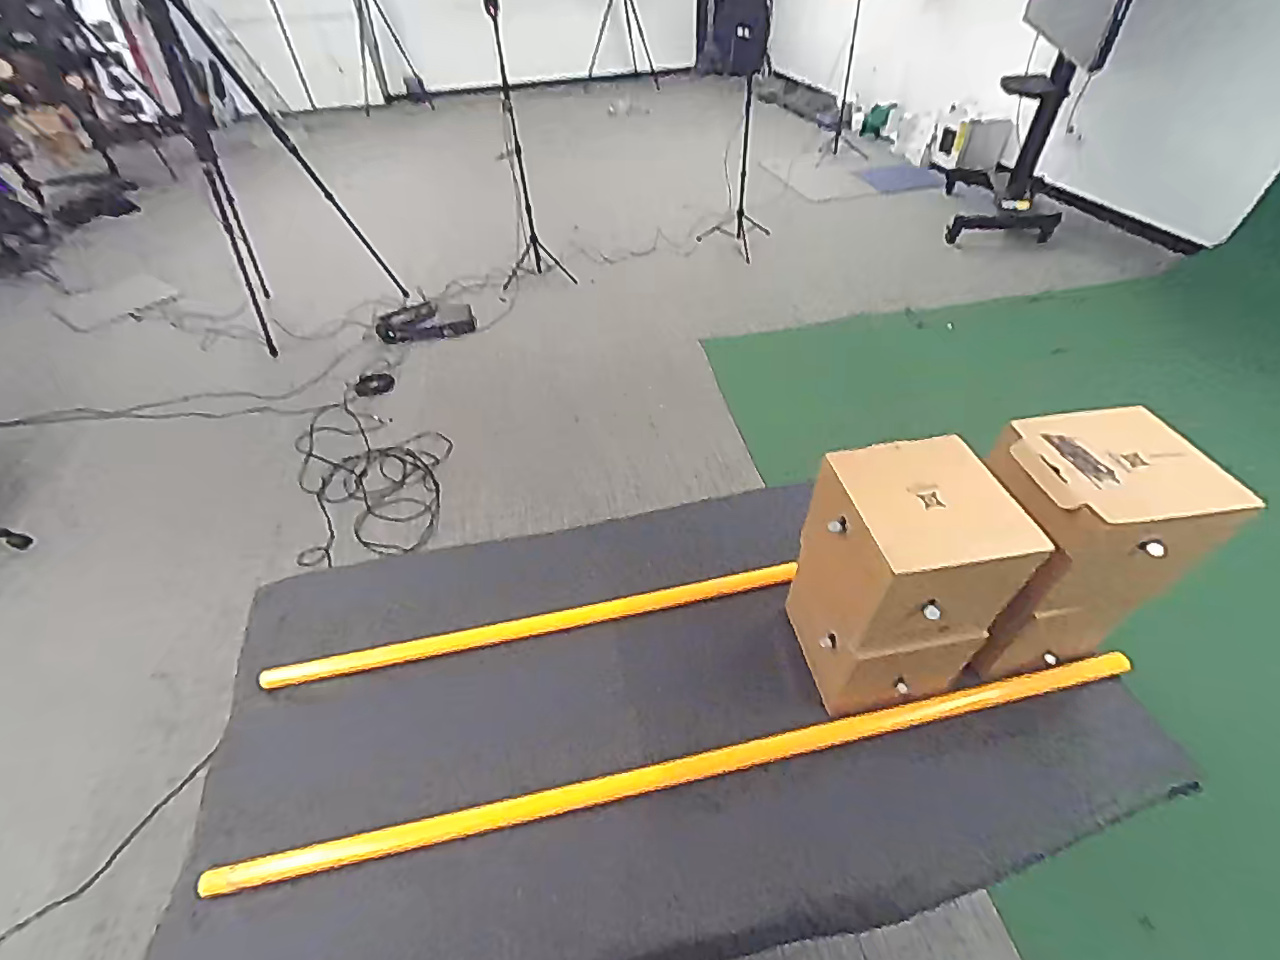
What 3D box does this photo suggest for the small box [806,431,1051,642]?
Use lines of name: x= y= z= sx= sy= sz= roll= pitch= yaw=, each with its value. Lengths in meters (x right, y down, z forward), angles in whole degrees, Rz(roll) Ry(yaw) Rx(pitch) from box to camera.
small box: x=0.310 y=0.071 z=0.628 sx=0.168 sy=0.176 sz=0.179 roll=-9 pitch=45 yaw=-4

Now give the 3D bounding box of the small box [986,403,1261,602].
small box: x=0.535 y=0.031 z=0.650 sx=0.179 sy=0.176 sz=0.168 roll=-7 pitch=46 yaw=-4

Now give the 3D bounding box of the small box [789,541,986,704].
small box: x=0.319 y=0.188 z=0.741 sx=0.168 sy=0.176 sz=0.179 roll=-8 pitch=45 yaw=-5
